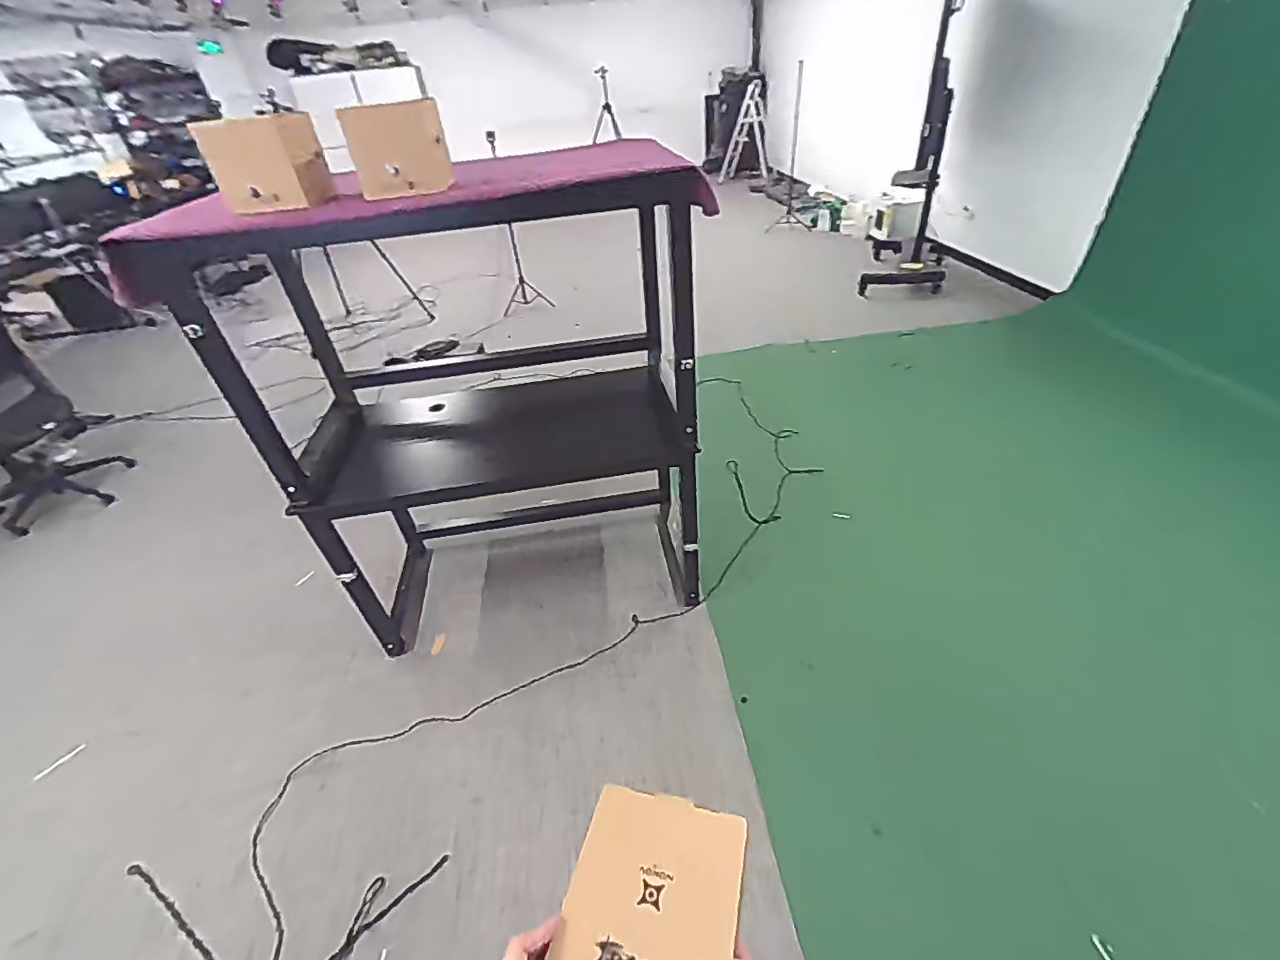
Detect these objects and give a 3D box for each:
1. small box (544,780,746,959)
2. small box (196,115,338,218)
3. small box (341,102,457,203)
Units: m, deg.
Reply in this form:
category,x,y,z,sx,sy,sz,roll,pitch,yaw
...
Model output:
category,x,y,z,sx,sy,sz,roll,pitch,yaw
small box,0.017,0.466,0.573,0.168,0.176,0.179,4,30,16
small box,-0.786,-0.677,1.168,0.168,0.176,0.179,-7,37,0
small box,-0.512,-0.714,1.179,0.168,0.176,0.179,-7,37,-1
